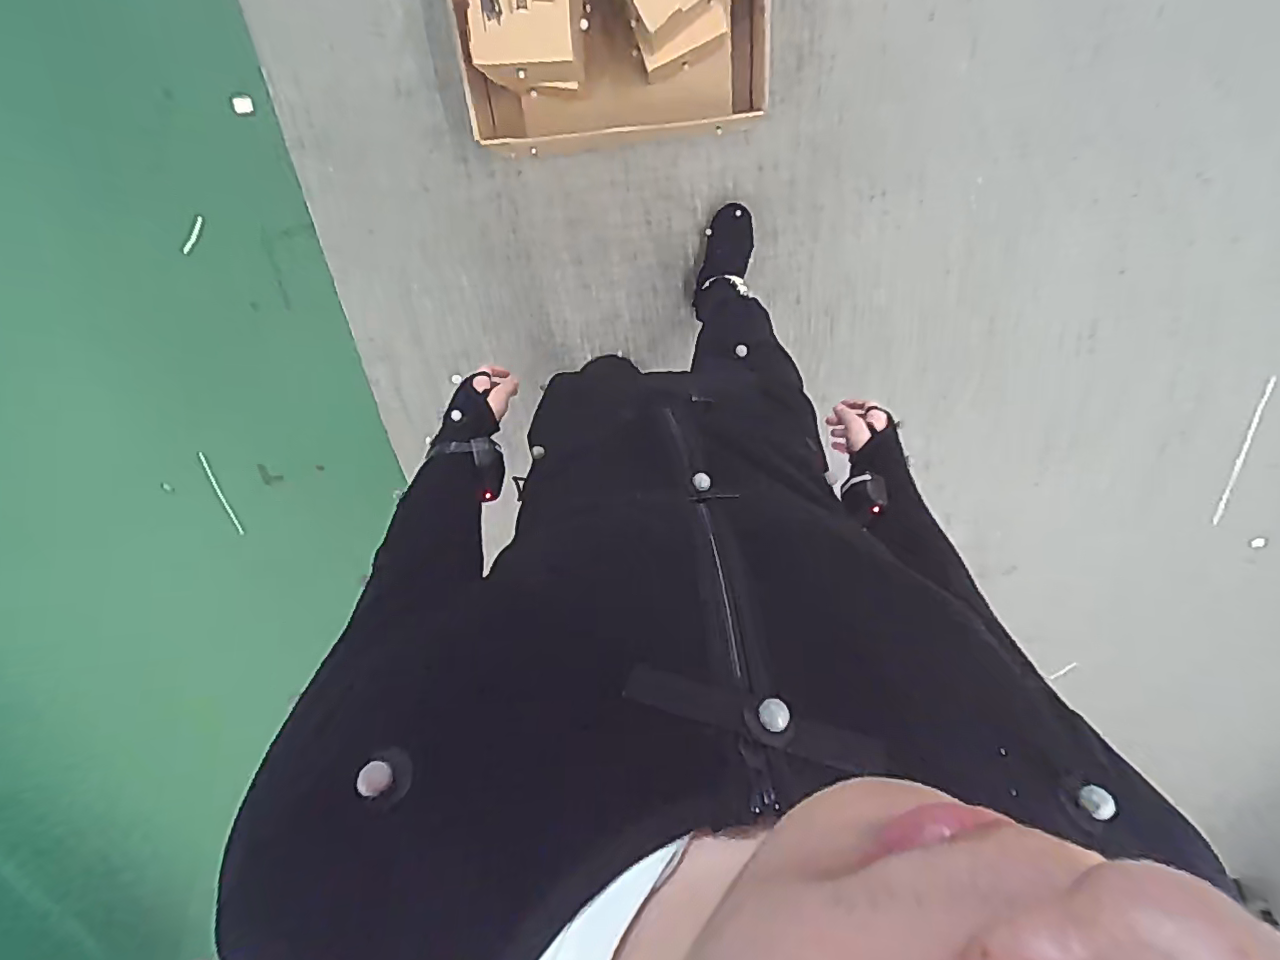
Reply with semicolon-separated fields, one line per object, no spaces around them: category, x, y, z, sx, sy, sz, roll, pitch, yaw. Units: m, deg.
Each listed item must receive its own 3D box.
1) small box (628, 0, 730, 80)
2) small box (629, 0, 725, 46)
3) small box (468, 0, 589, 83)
small box;0.072;-0.925;1.066;0.168;0.176;0.179;-18;115;13
small box;0.051;-0.876;0.908;0.168;0.176;0.179;-28;112;16
small box;-0.192;-0.818;0.953;0.179;0.176;0.168;0;117;2
